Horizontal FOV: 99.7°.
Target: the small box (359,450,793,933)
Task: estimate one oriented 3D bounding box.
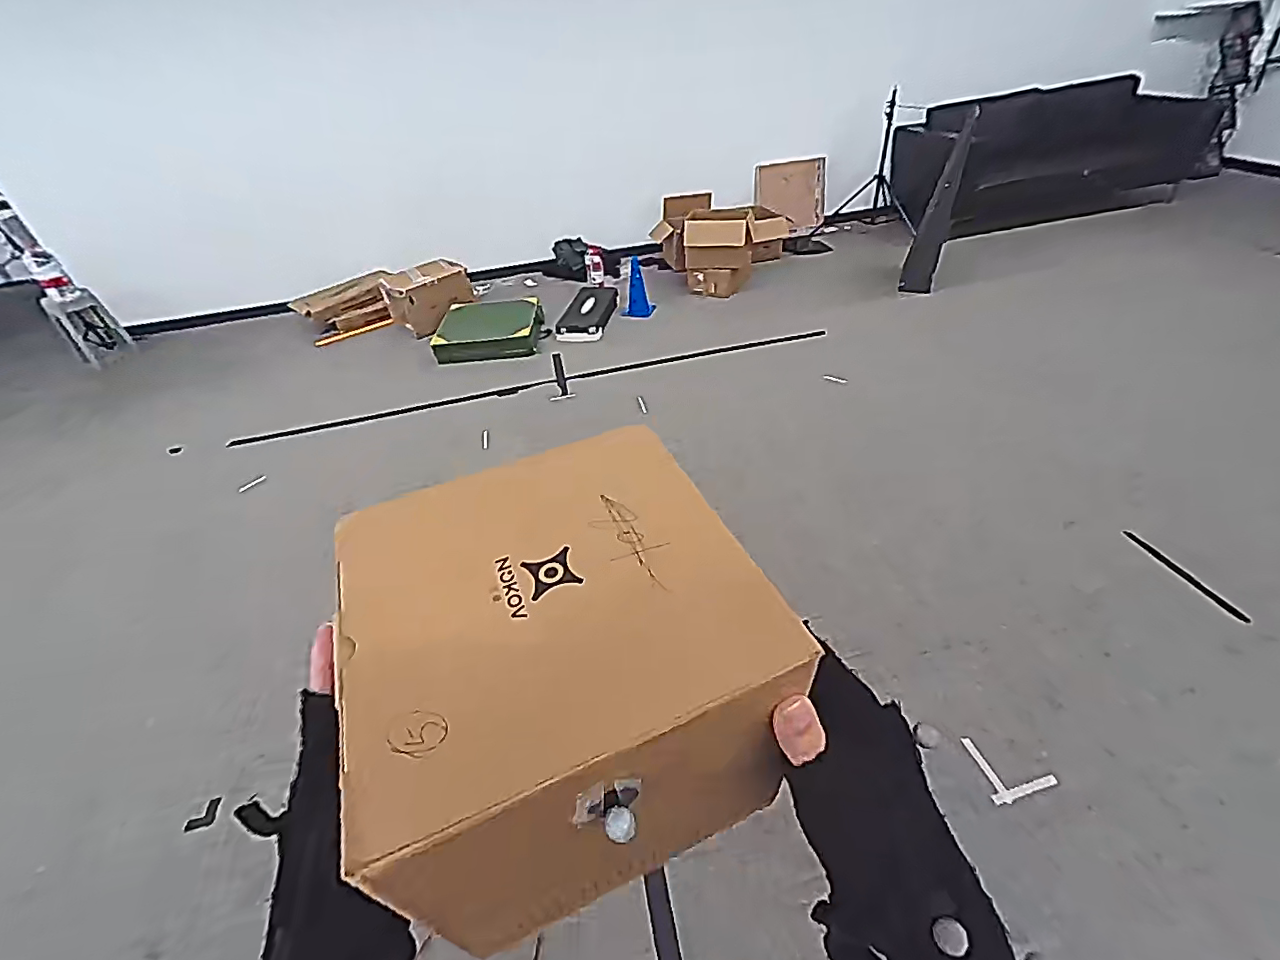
[{"bbox_3d":[-0.037,0.114,0.312,0.179,0.176,0.168,-19,43,-16],"label":"small box"}]
